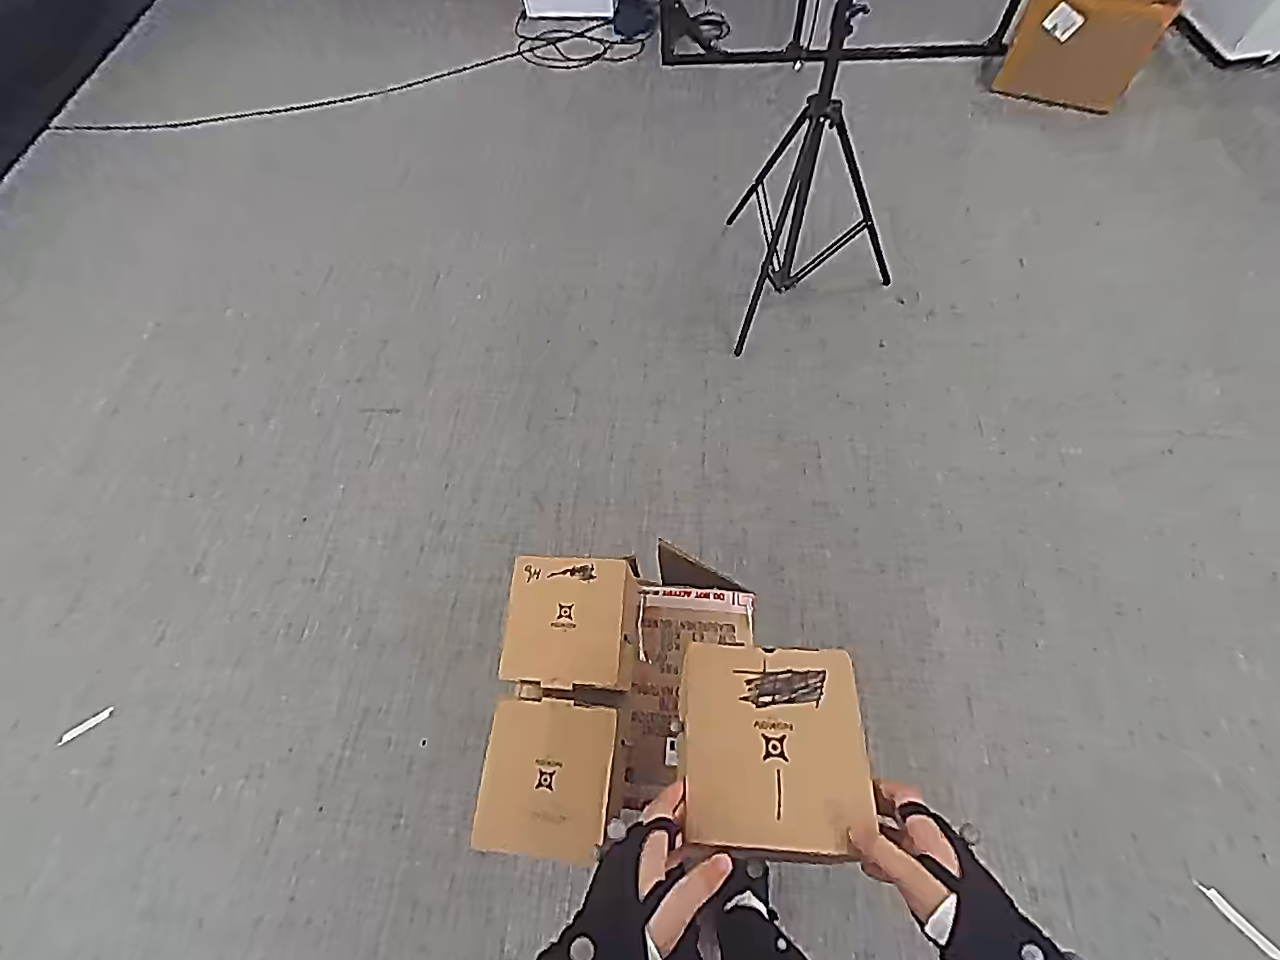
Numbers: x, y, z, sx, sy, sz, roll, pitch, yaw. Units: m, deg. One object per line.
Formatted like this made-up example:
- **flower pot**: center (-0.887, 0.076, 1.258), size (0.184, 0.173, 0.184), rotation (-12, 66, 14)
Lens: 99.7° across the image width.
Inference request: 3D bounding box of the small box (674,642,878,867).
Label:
- **small box**: center (0.123, 0.289, 0.565), size (0.168, 0.176, 0.179), rotation (3, 53, 3)
